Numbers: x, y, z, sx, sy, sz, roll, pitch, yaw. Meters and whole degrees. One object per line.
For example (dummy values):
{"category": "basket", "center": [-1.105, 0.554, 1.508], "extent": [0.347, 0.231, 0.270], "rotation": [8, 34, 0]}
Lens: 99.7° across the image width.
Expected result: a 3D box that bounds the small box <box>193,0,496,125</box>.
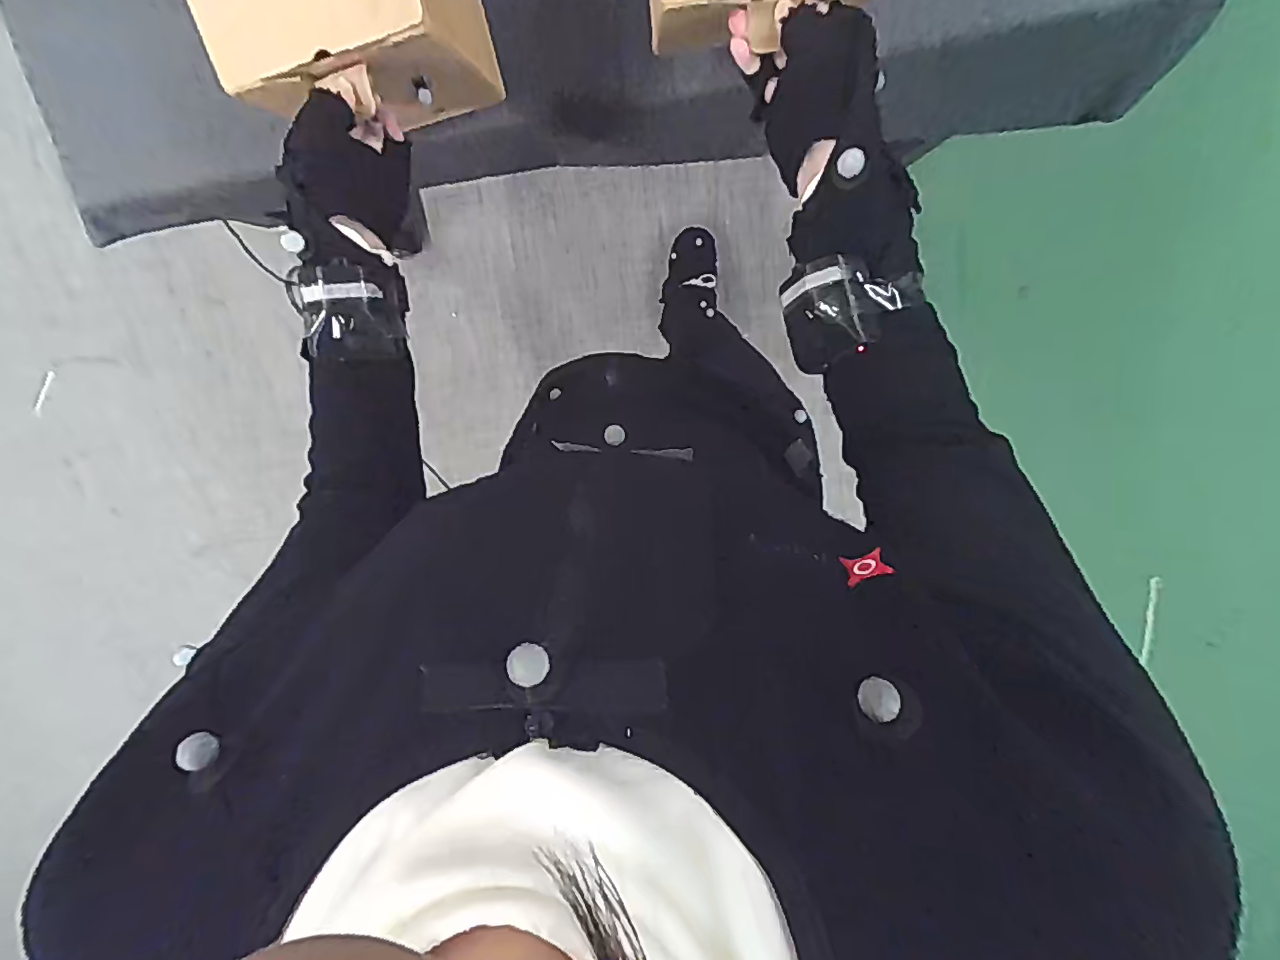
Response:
{"category": "small box", "center": [-0.235, -0.412, 0.431], "extent": [0.168, 0.176, 0.179], "rotation": [-11, 108, 8]}
